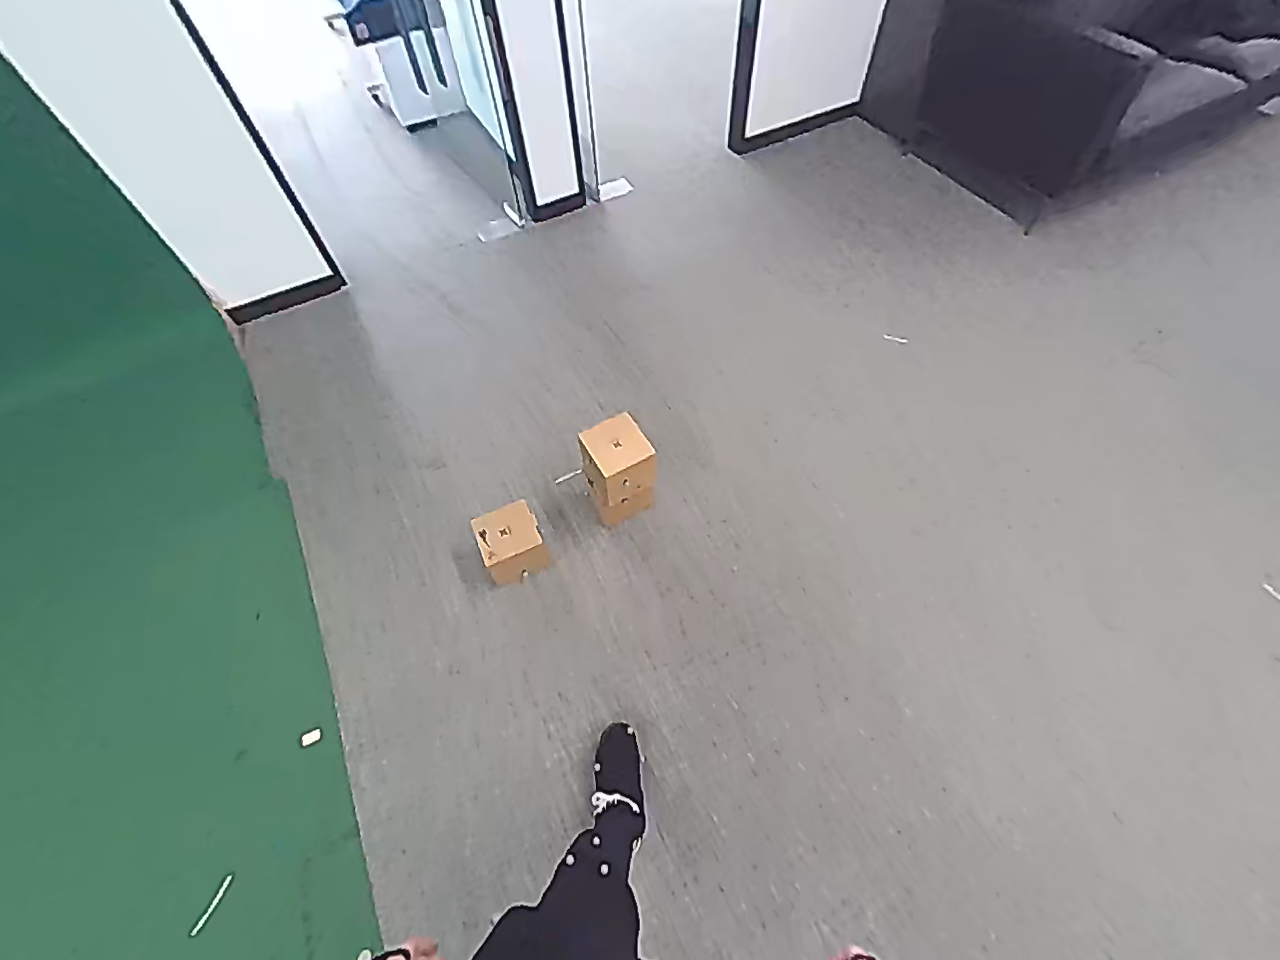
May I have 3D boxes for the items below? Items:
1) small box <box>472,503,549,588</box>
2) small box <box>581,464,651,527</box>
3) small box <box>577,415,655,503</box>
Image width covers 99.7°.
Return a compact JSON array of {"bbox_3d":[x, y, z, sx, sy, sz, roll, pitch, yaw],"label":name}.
[{"bbox_3d":[-0.386,0.202,1.642,0.179,0.176,0.168,-22,59,-12],"label":"small box"},{"bbox_3d":[-0.072,0.024,1.741,0.179,0.176,0.168,-23,60,-13],"label":"small box"},{"bbox_3d":[-0.065,-0.053,1.598,0.168,0.176,0.179,-27,61,-14],"label":"small box"}]
